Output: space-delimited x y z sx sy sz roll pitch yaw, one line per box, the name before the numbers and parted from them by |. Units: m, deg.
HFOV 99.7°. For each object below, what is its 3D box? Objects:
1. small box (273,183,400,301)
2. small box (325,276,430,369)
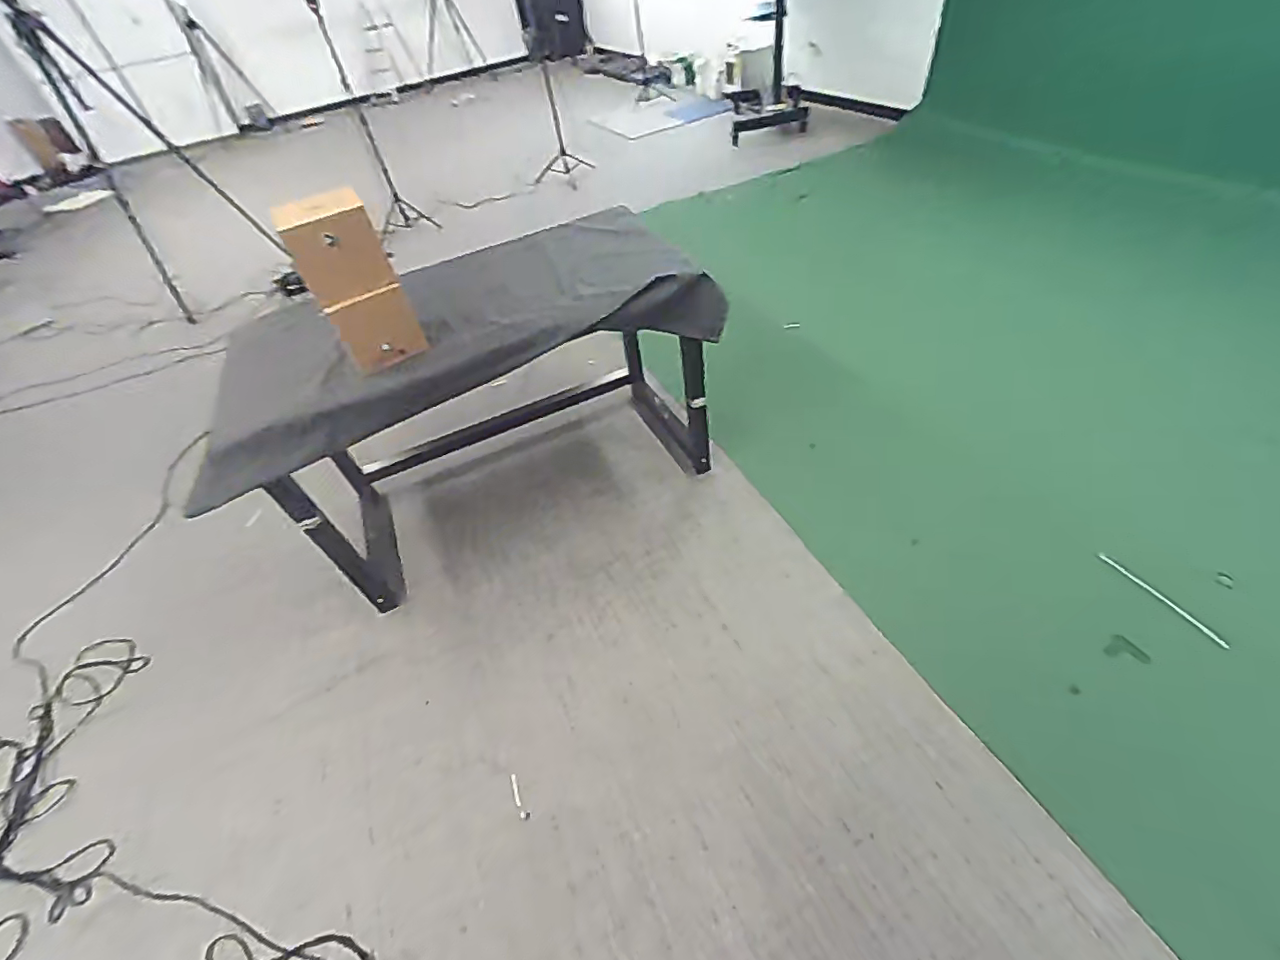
small box | -0.651 -0.512 1.170 0.179 0.176 0.168 -27 49 -16
small box | -0.626 -0.390 1.275 0.168 0.176 0.179 -31 49 -18
